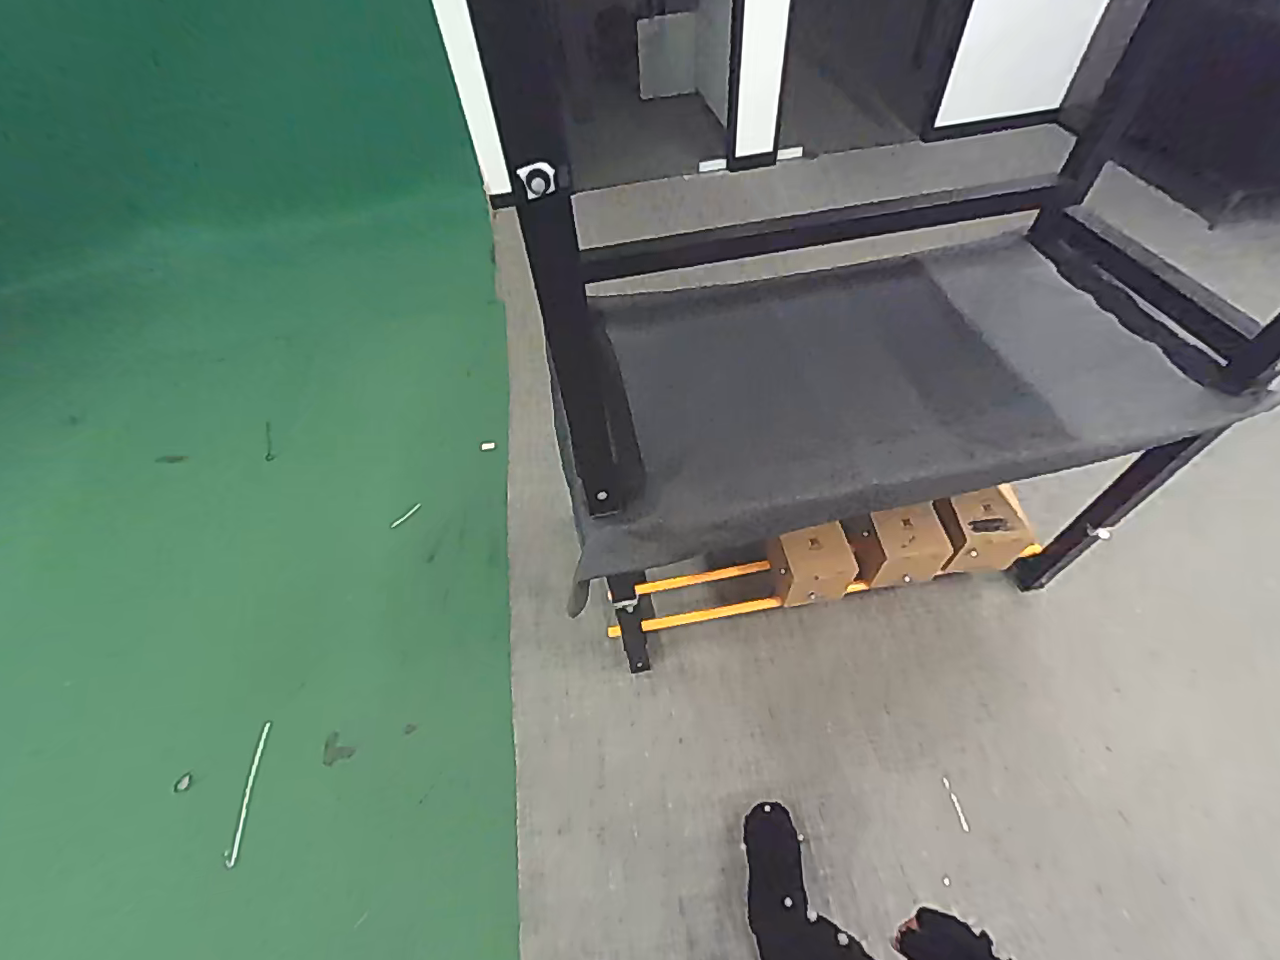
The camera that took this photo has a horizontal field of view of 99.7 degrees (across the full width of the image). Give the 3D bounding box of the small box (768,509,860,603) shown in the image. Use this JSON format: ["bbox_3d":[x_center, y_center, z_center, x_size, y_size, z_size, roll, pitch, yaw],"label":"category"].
[{"bbox_3d":[0.442,0.199,1.409,0.168,0.176,0.179,-9,55,-2],"label":"small box"}]
